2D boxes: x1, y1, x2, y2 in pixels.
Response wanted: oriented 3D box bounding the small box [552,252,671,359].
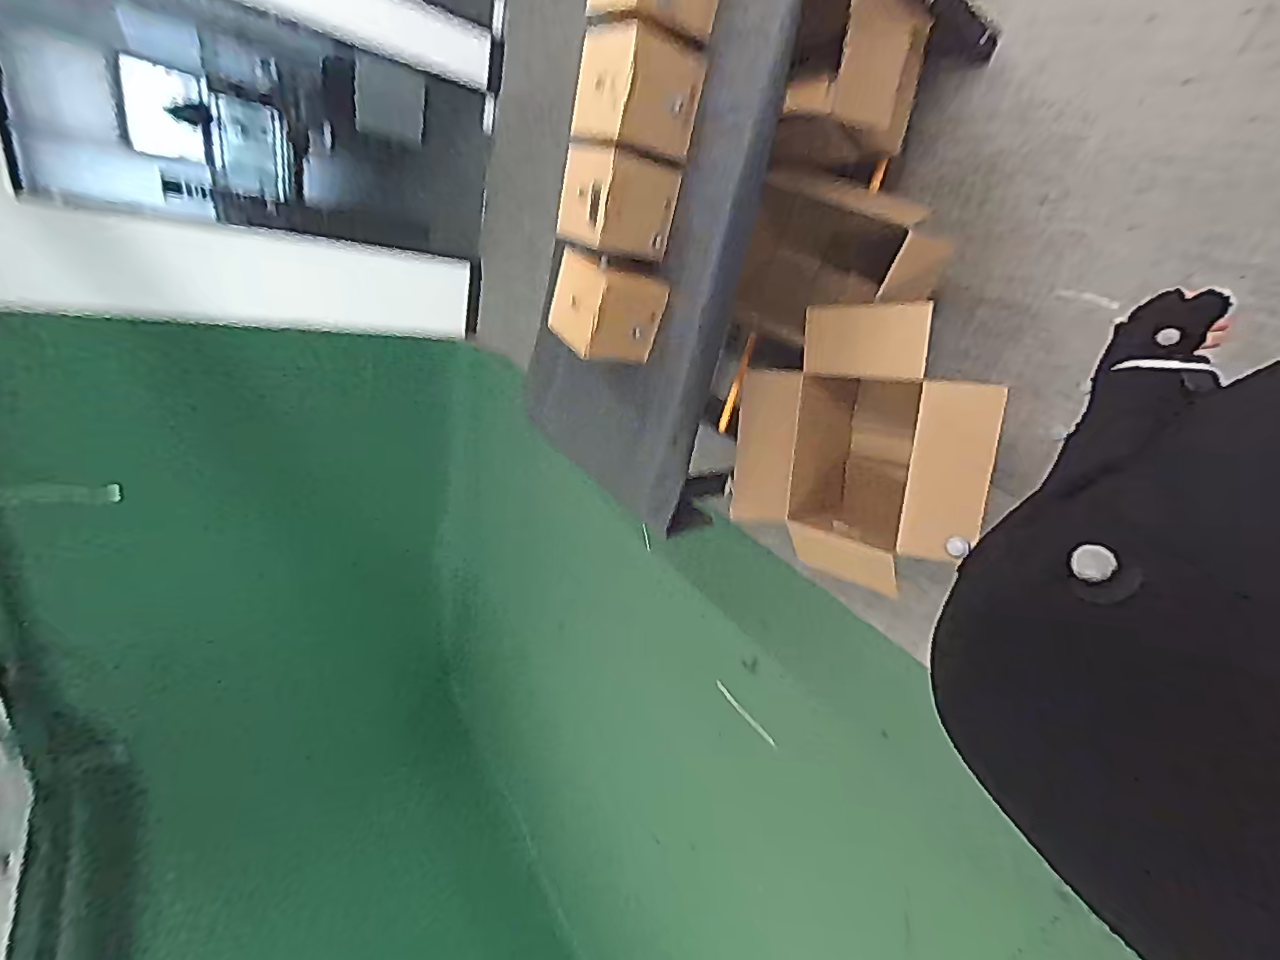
[{"bbox_3d":[-0.064,-0.374,1.181,0.179,0.176,0.168,47,129,37],"label":"small box"}]
